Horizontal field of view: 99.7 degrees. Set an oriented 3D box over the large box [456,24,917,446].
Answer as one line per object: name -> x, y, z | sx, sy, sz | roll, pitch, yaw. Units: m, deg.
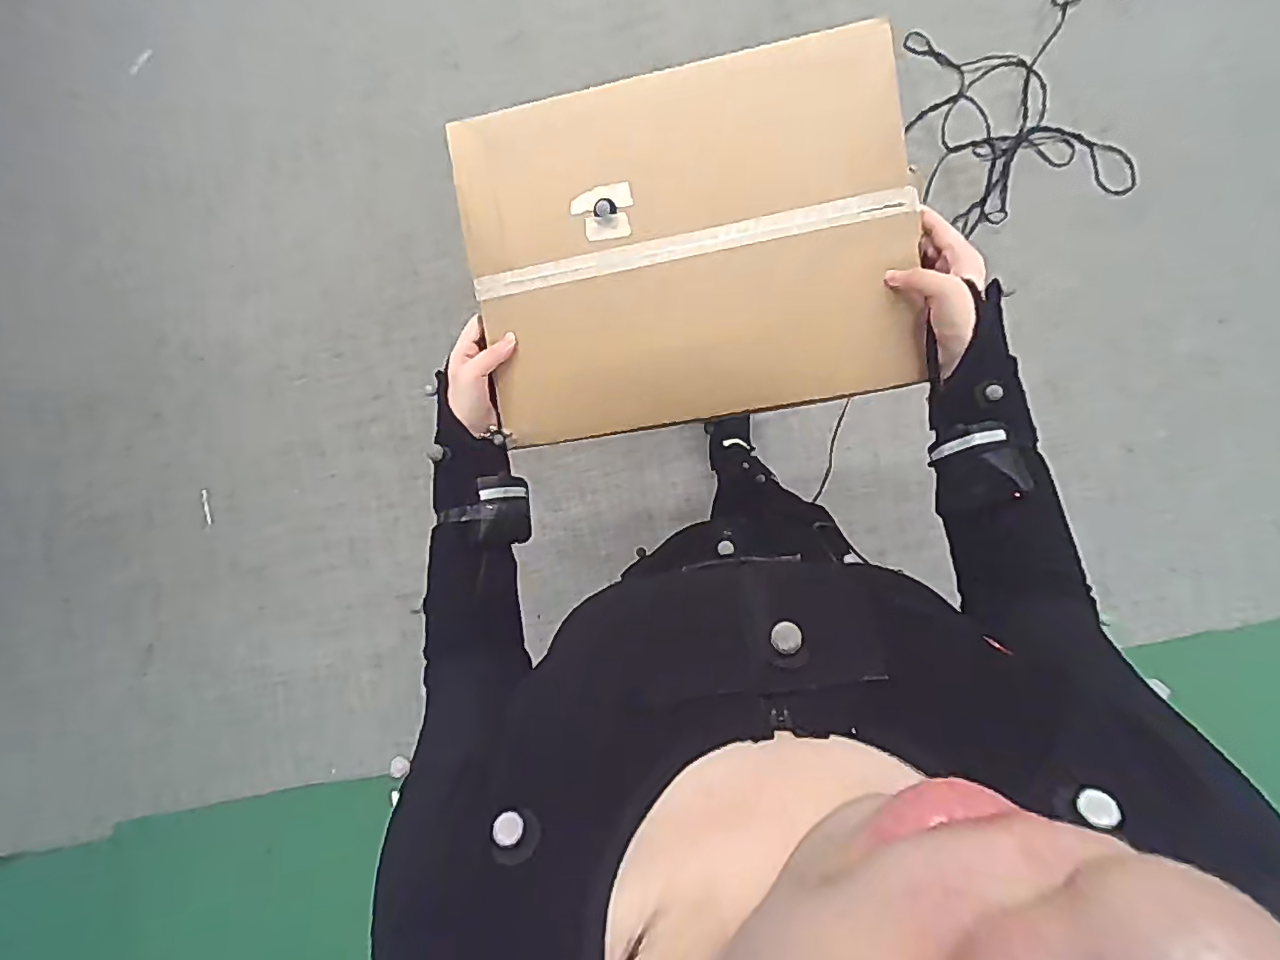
large box -> 0.058, -0.235, 0.660 | 0.408, 0.320, 0.320 | -9, 94, 9
